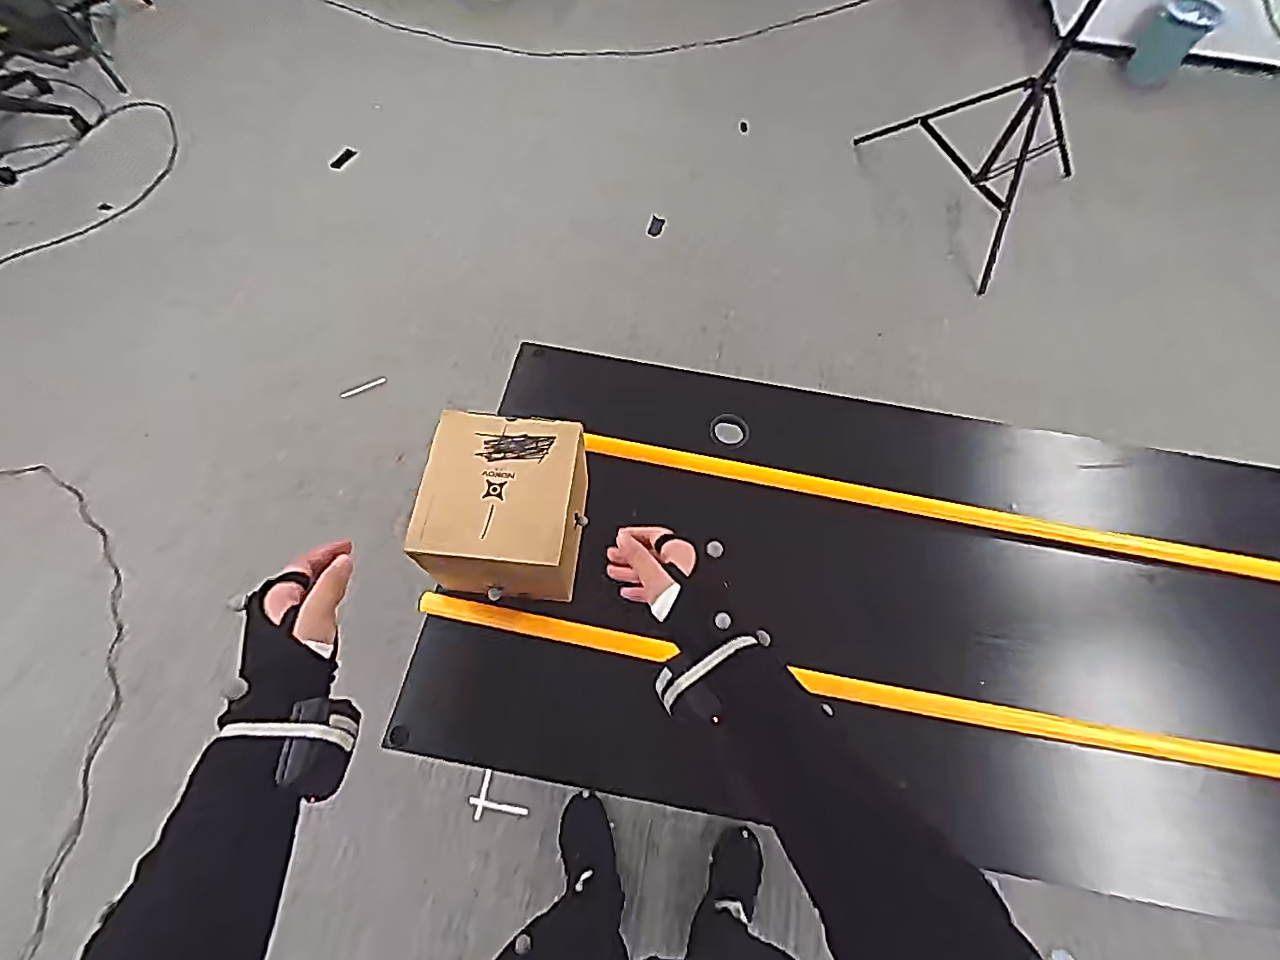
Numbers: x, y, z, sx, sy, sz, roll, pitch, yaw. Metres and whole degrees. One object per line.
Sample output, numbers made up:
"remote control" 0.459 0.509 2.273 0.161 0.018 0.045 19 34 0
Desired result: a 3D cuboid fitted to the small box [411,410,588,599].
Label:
"small box" -0.157 0.037 0.674 0.168 0.176 0.179 5 65 0
